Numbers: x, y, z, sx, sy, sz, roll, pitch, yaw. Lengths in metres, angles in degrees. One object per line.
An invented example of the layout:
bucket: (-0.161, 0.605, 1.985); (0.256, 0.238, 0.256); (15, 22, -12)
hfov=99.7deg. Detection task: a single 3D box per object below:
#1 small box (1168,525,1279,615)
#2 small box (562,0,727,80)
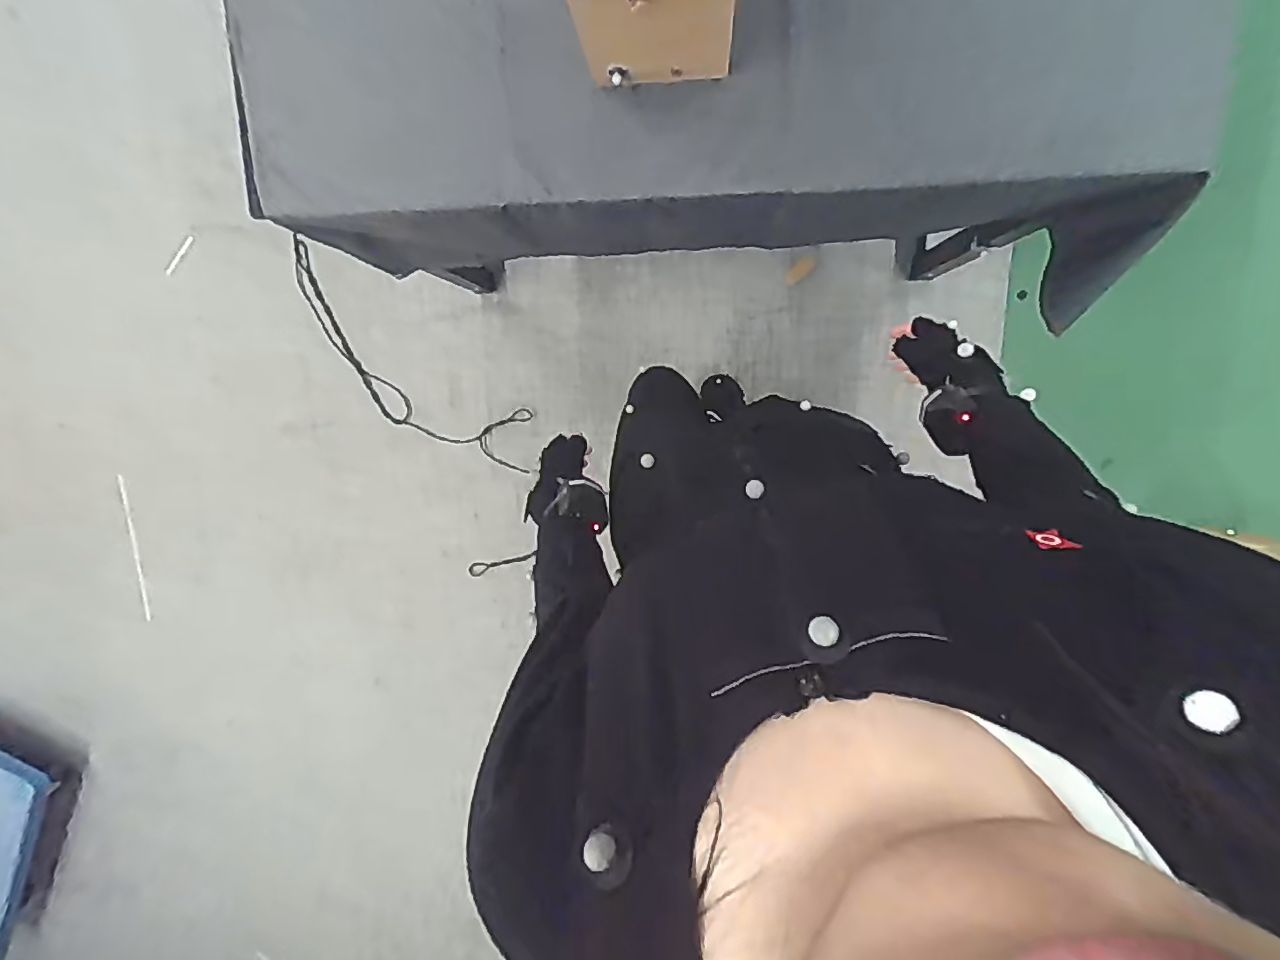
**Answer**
small box: (1.441, 0.212, 1.300); (0.179, 0.176, 0.168); (5, 100, 5)
small box: (0.012, -0.565, 0.581); (0.168, 0.176, 0.179); (0, 99, 6)
